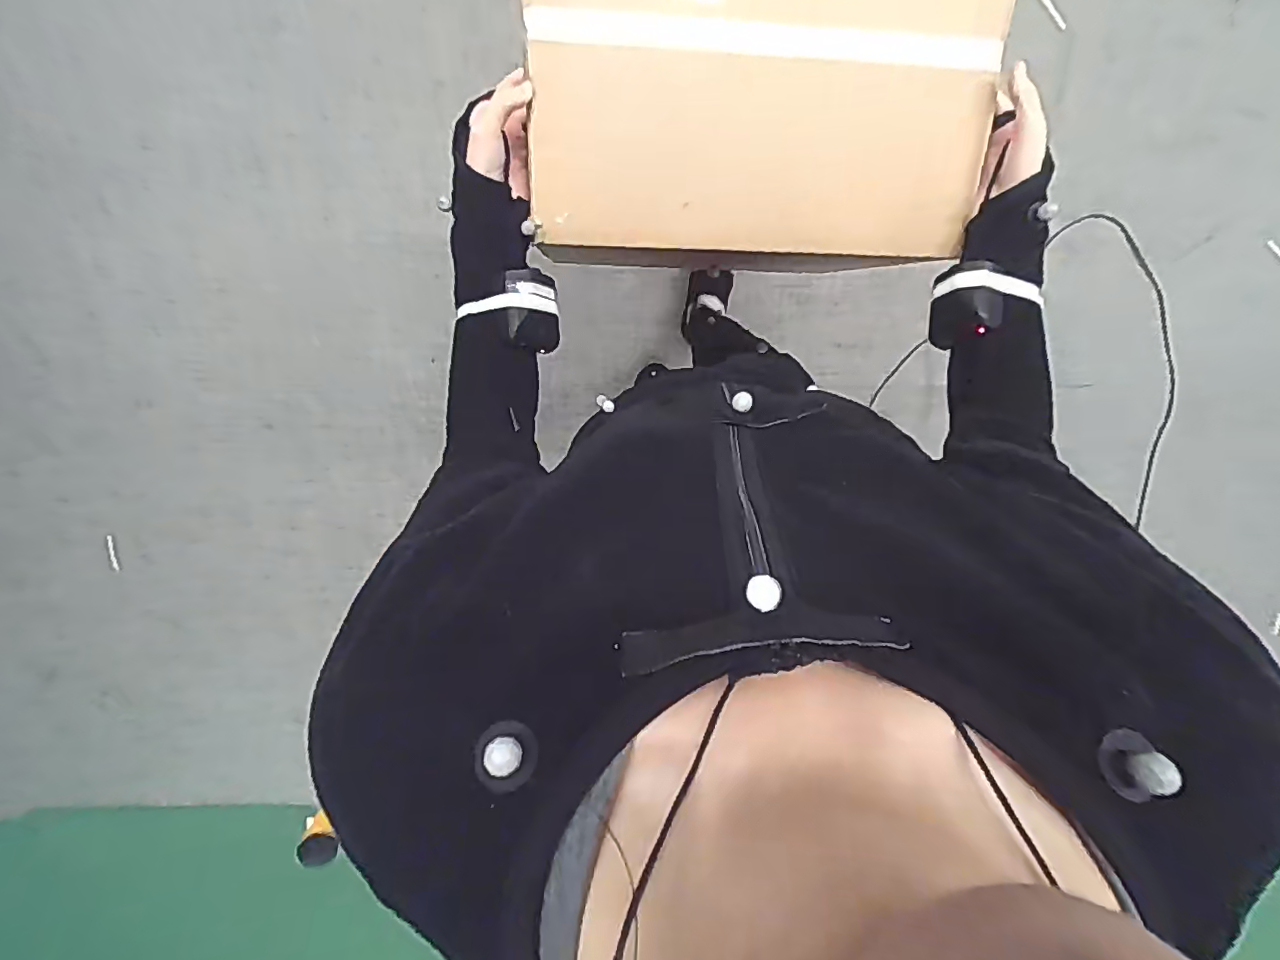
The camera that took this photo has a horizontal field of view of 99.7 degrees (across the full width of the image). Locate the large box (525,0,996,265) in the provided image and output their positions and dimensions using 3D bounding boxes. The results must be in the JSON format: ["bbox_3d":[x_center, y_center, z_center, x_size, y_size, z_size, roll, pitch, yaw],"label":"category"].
[{"bbox_3d":[0.094,-0.410,0.601,0.408,0.320,0.320,0,108,-5],"label":"large box"}]
